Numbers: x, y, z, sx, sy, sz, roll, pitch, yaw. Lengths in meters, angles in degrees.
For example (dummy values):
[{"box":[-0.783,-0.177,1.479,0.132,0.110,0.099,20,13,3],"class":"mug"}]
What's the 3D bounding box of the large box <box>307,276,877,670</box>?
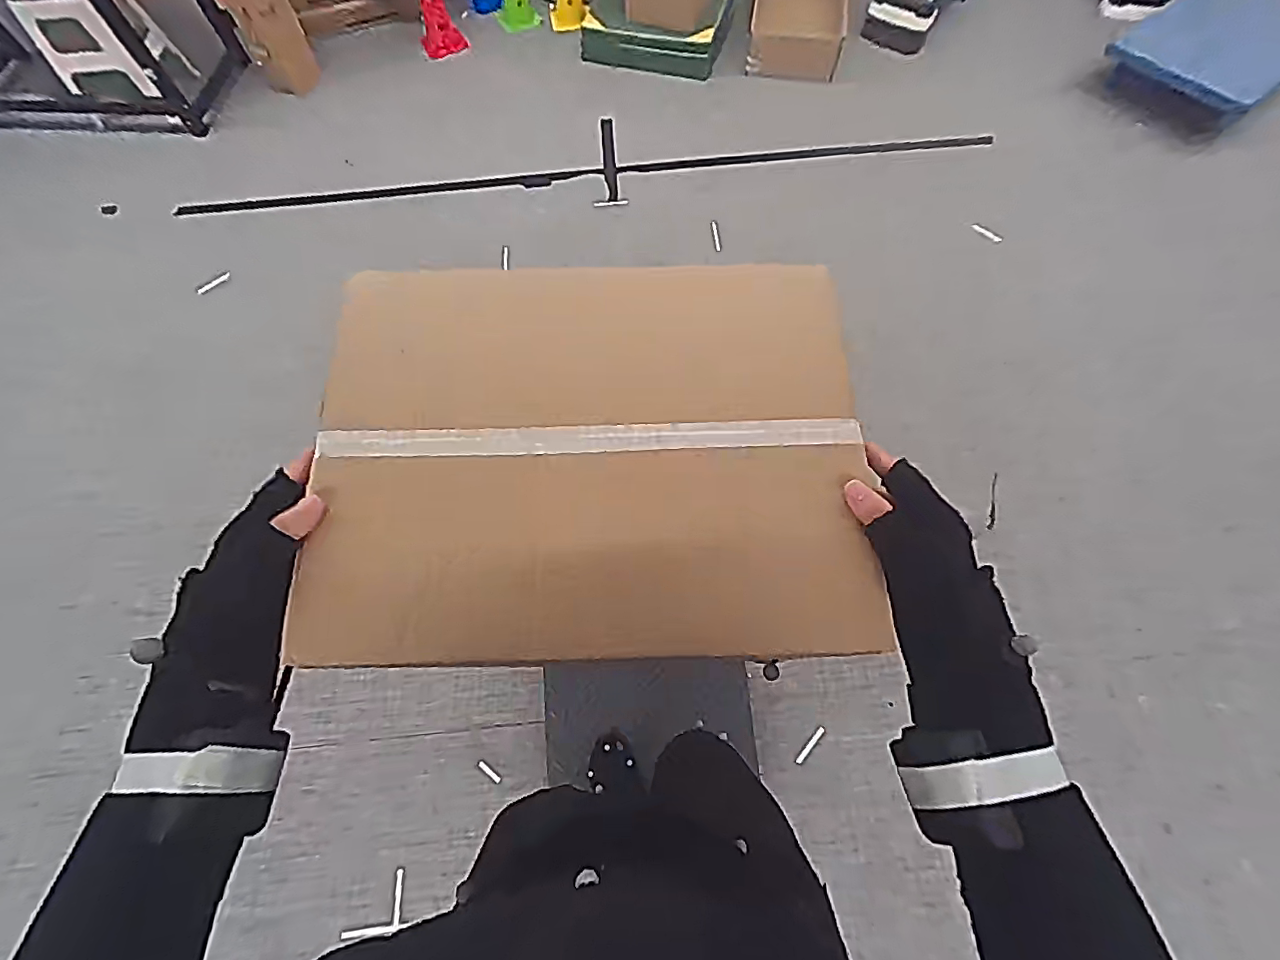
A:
[{"box":[-0.035,0.022,0.559,0.408,0.320,0.320,-1,71,0],"class":"large box"}]
